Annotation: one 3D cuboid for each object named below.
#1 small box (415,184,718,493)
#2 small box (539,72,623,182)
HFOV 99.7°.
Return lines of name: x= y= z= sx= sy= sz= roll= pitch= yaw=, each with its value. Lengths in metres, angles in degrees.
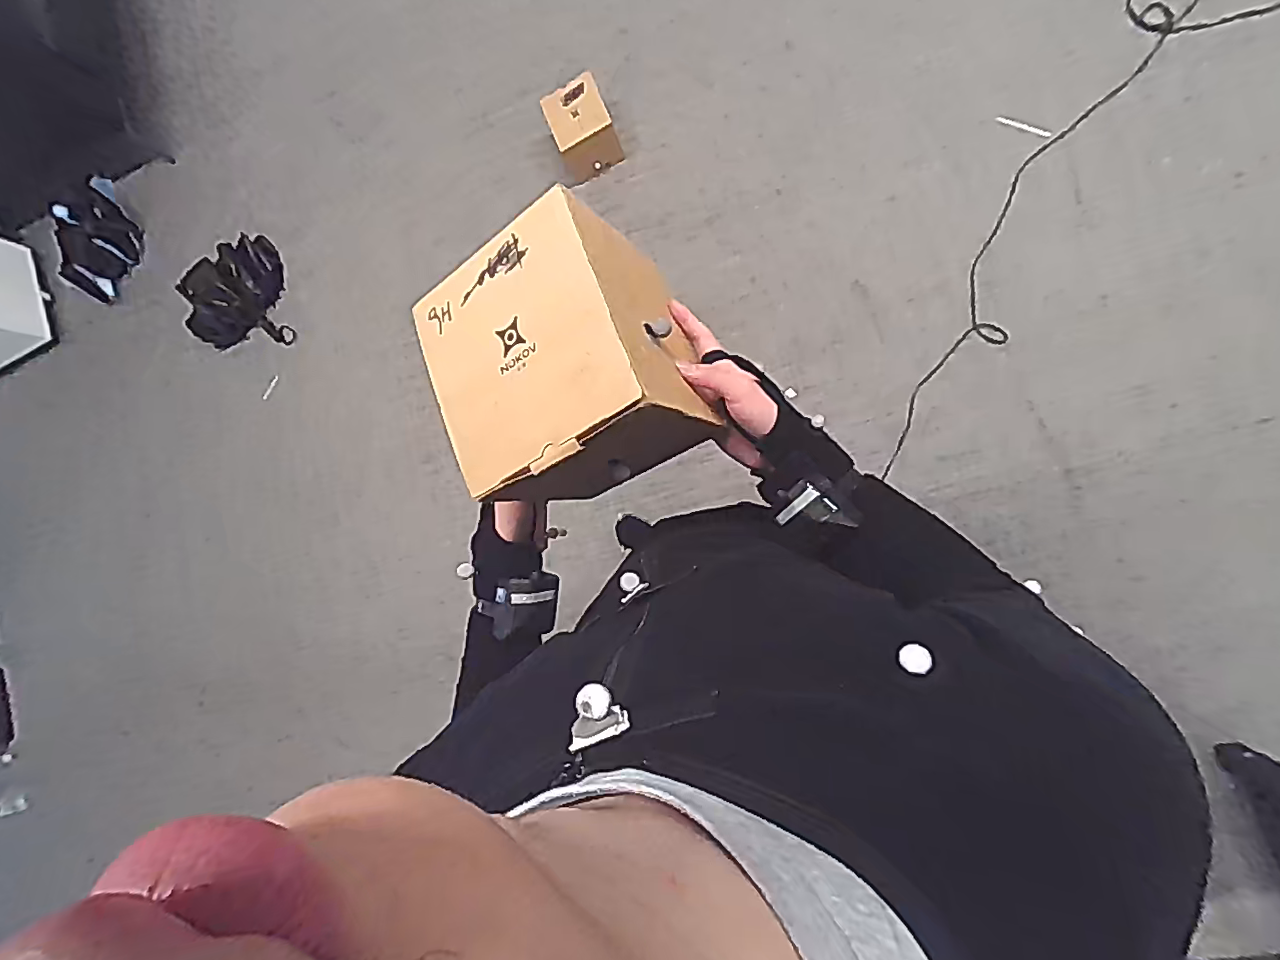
small box: x=-0.053 y=-0.100 z=0.468 sx=0.168 sy=0.176 sz=0.179 roll=-26 pitch=78 yaw=23
small box: x=-0.169 y=-1.027 z=1.588 sx=0.168 sy=0.176 sz=0.179 roll=-23 pitch=84 yaw=11
